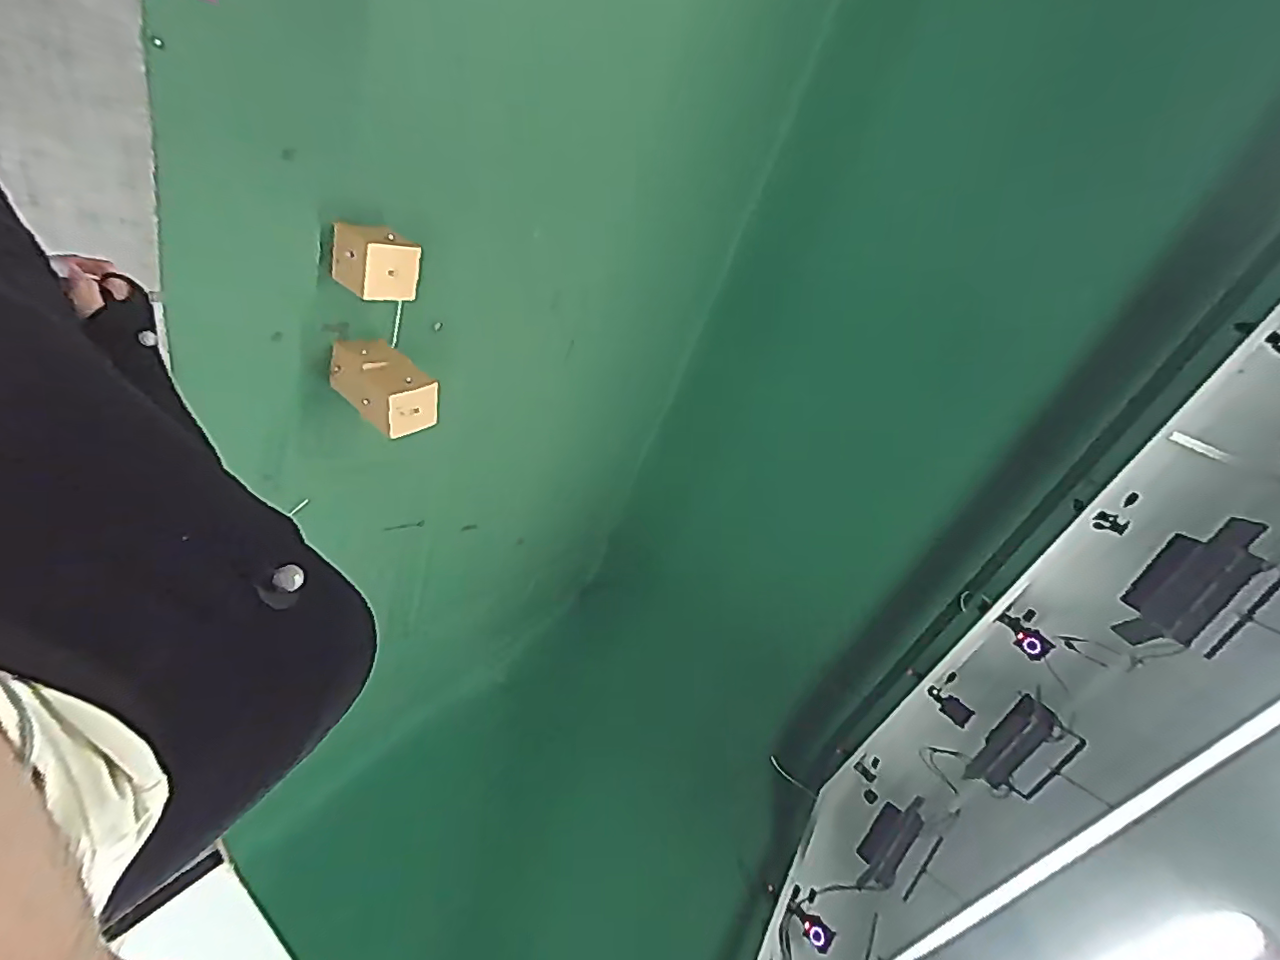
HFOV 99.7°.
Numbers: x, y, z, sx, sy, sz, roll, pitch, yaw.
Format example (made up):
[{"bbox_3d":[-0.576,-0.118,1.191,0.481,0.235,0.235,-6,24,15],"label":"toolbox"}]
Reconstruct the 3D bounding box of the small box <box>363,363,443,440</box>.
[{"bbox_3d":[-0.773,-0.264,1.767,0.179,0.176,0.168,-32,149,-45],"label":"small box"}]

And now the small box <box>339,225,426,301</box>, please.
[{"bbox_3d":[-0.780,-0.653,1.631,0.179,0.176,0.168,-26,145,-53],"label":"small box"}]
